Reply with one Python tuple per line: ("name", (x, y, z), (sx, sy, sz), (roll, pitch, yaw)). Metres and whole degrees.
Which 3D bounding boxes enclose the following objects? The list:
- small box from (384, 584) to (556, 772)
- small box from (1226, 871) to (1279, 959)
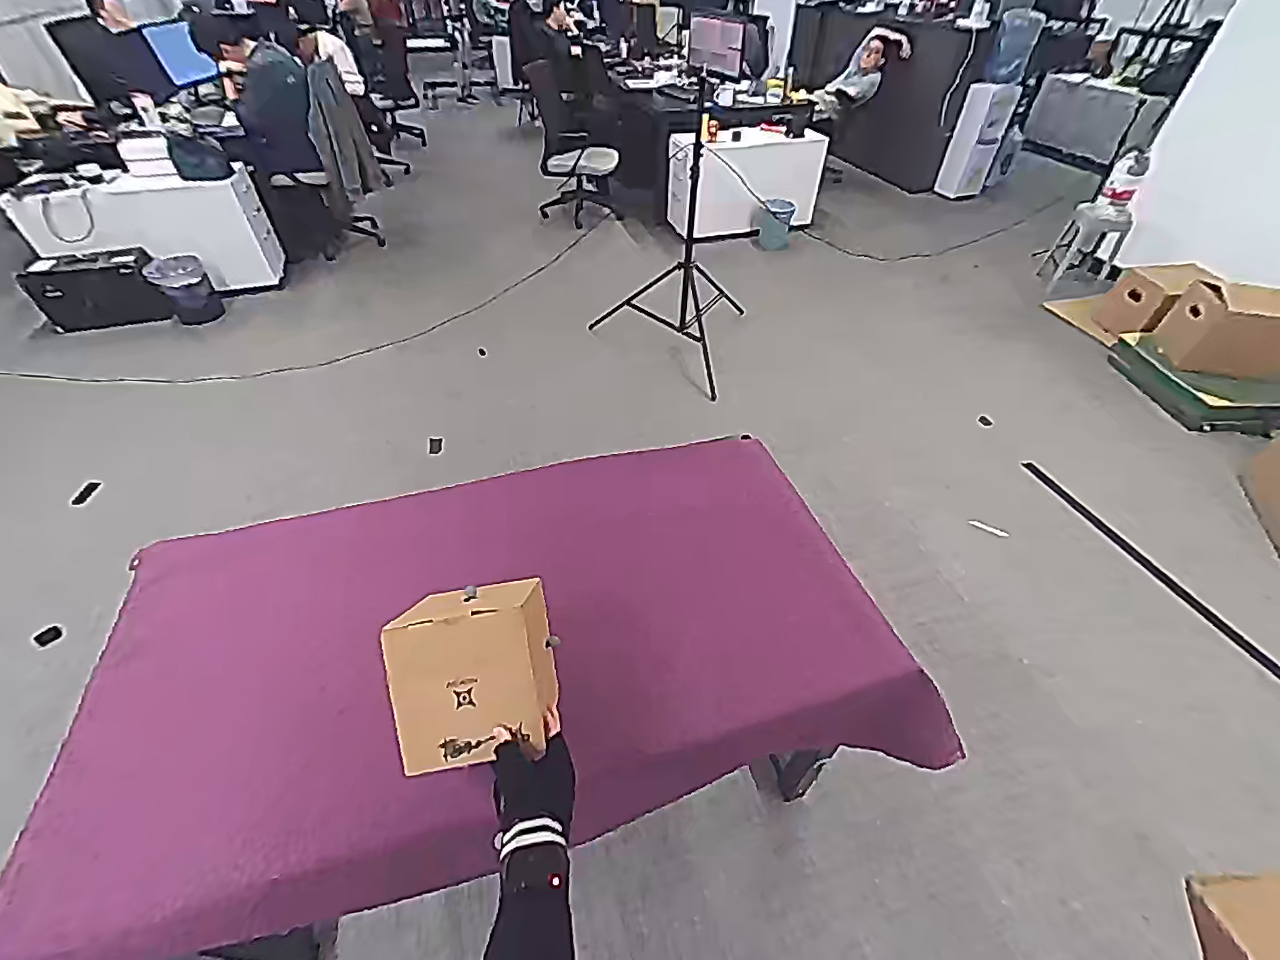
("small box", (-0.206, 0.238, 0.700), (0.168, 0.176, 0.179), (-9, 89, -4))
("small box", (0.367, 0.279, 0.185), (0.168, 0.176, 0.179), (-14, 1, 22))
